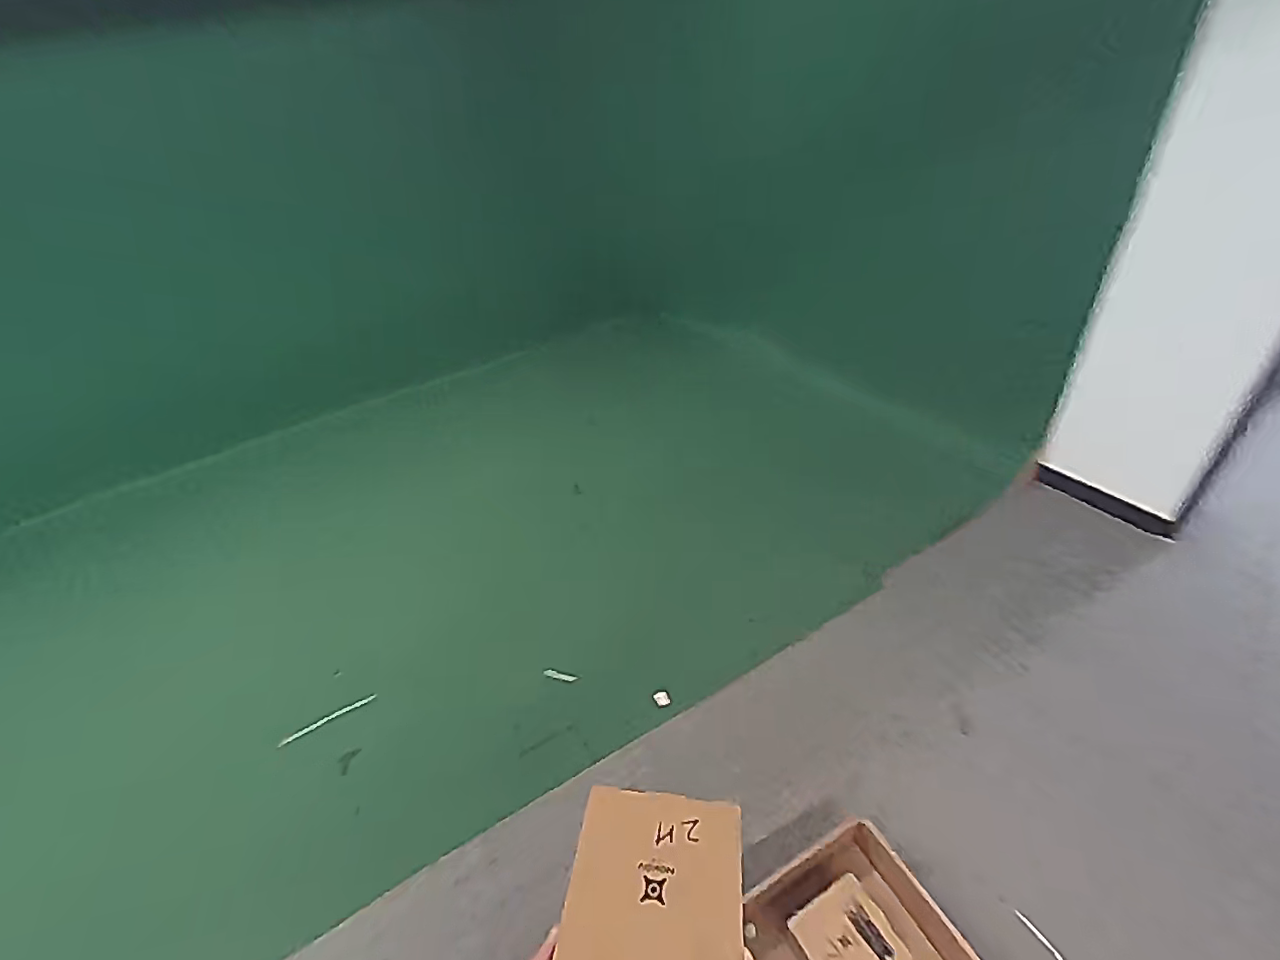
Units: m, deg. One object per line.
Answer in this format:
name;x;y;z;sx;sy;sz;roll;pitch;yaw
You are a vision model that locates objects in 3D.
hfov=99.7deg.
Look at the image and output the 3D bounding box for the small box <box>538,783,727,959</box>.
small box;0.003;0.456;0.559;0.168;0.176;0.179;4;28;7
